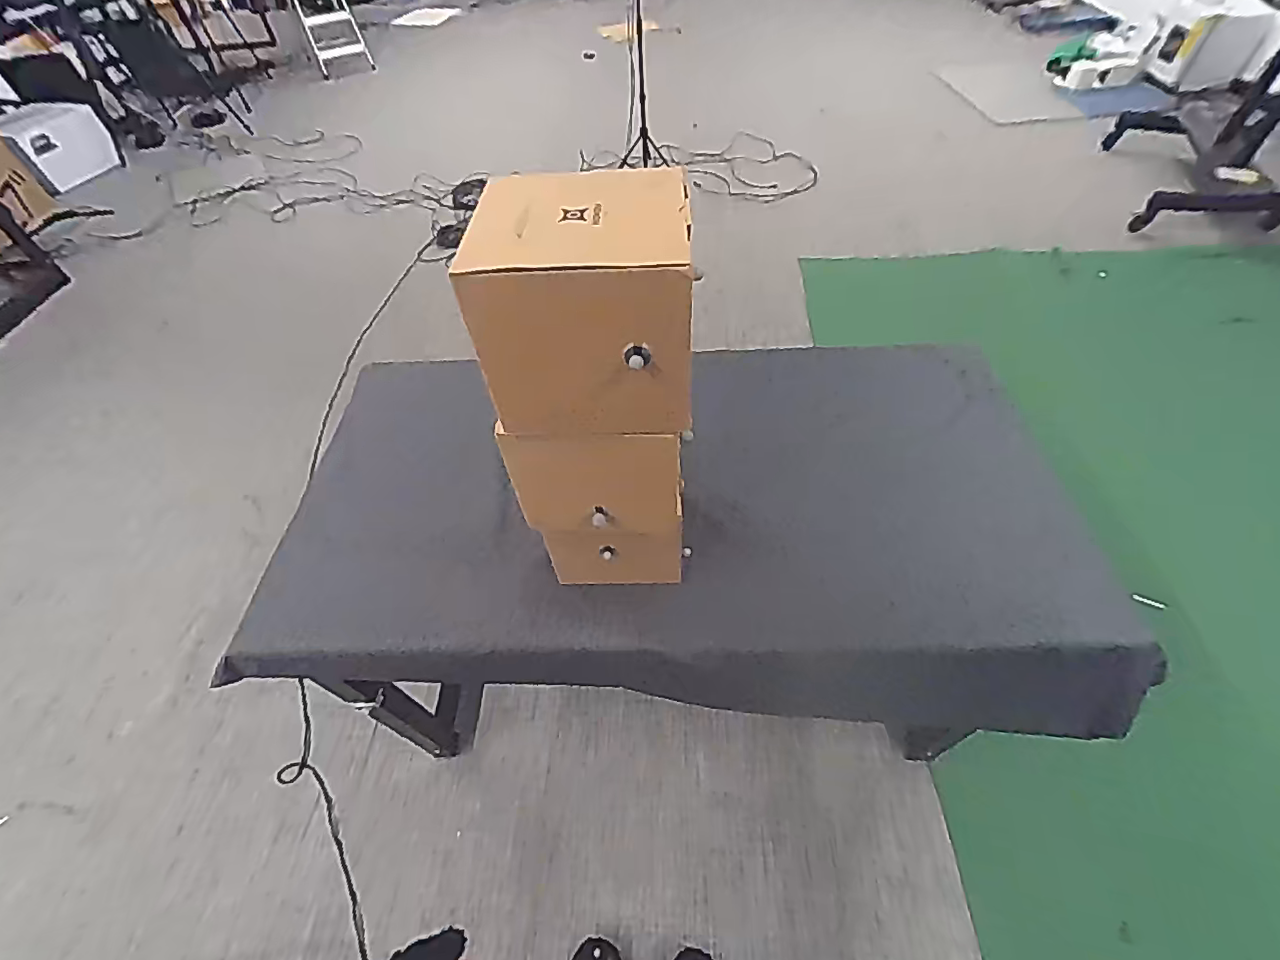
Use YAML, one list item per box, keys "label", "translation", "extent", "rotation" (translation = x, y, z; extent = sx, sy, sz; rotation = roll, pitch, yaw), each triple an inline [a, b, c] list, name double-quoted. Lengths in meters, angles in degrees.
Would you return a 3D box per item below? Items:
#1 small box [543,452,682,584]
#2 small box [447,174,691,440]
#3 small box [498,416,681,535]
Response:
- label: "small box"
  translation: [-0.031, 0.036, 0.759]
  extent: [0.179, 0.176, 0.168]
  rotation: [-2, 51, 4]
- label: "small box"
  translation: [-0.045, -0.151, 0.493]
  extent: [0.179, 0.176, 0.168]
  rotation: [-3, 50, 4]
- label: "small box"
  translation: [-0.044, -0.048, 0.622]
  extent: [0.179, 0.176, 0.168]
  rotation: [-2, 52, 3]
